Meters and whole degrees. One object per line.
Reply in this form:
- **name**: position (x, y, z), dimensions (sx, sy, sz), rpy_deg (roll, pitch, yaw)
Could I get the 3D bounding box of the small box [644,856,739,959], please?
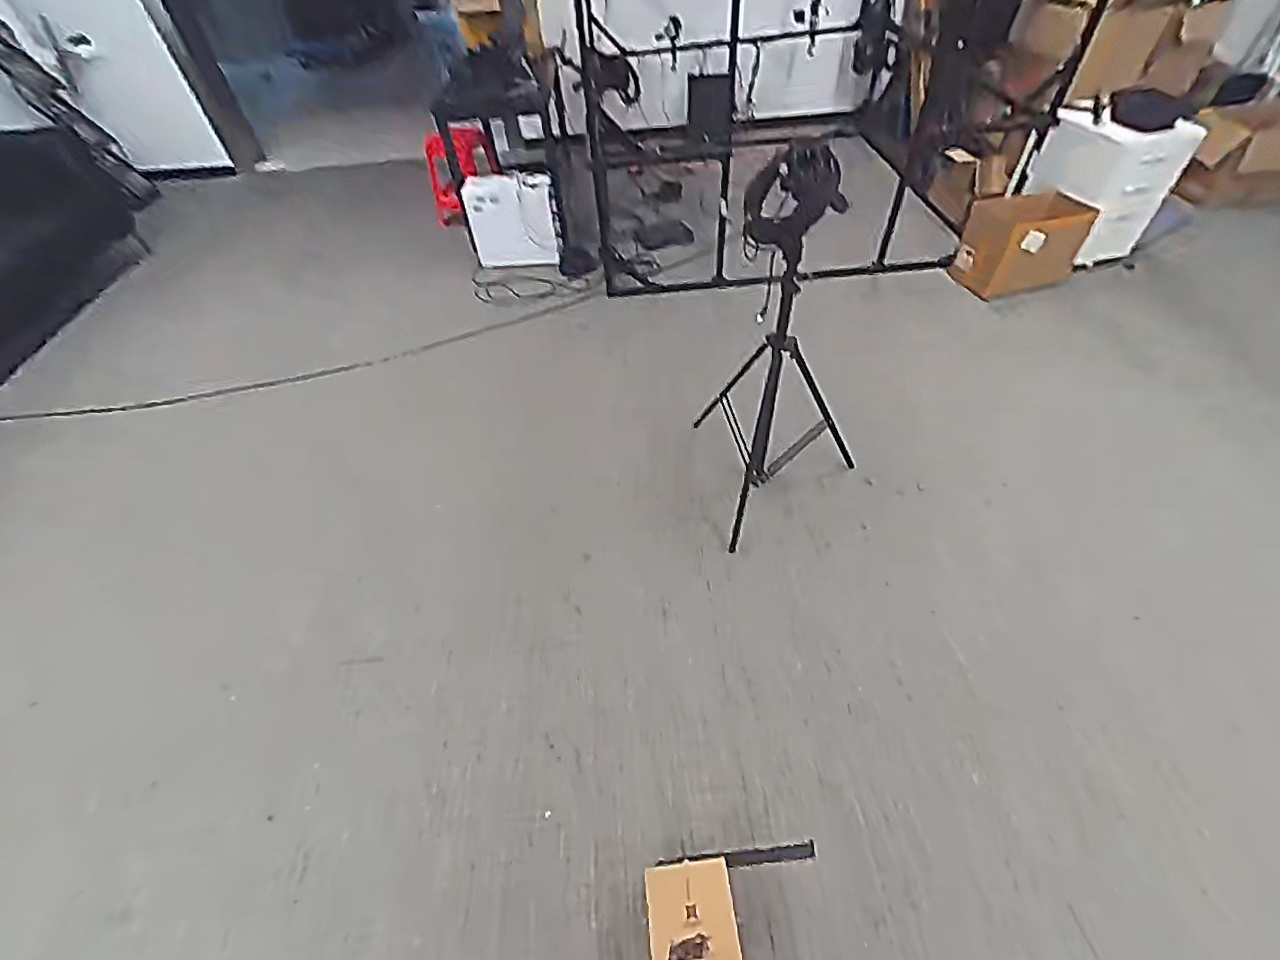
- **small box**: position (0.101, 0.881, 1.088), dimensions (0.168, 0.176, 0.179), rpy_deg (-6, 48, -1)
